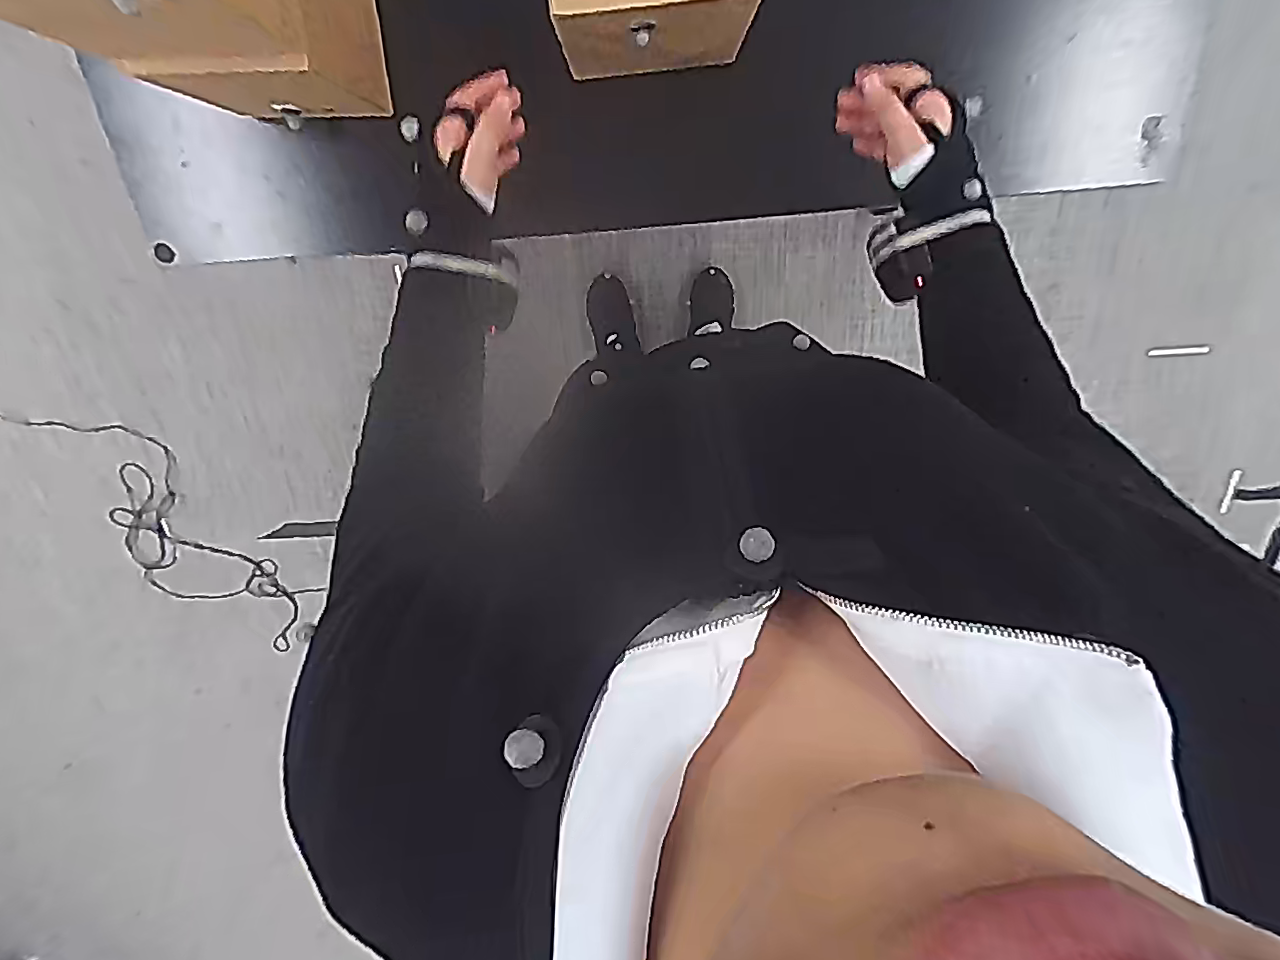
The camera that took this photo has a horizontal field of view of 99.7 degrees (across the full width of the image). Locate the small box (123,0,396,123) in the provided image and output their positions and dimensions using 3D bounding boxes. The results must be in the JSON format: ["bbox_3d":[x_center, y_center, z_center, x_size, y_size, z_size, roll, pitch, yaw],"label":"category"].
[{"bbox_3d":[-0.353,-0.453,0.501,0.168,0.176,0.179,-1,113,2],"label":"small box"}]

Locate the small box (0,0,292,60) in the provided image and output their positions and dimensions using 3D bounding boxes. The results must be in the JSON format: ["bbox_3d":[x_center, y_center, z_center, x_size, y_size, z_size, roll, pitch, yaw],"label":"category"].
[{"bbox_3d":[-0.360,-0.396,0.345,0.179,0.176,0.168,-1,111,2],"label":"small box"}]

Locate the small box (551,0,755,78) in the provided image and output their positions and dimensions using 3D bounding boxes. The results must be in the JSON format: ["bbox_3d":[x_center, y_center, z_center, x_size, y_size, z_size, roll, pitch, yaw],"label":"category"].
[{"bbox_3d":[0.009,-0.486,0.482,0.179,0.176,0.168,-5,112,2],"label":"small box"}]
